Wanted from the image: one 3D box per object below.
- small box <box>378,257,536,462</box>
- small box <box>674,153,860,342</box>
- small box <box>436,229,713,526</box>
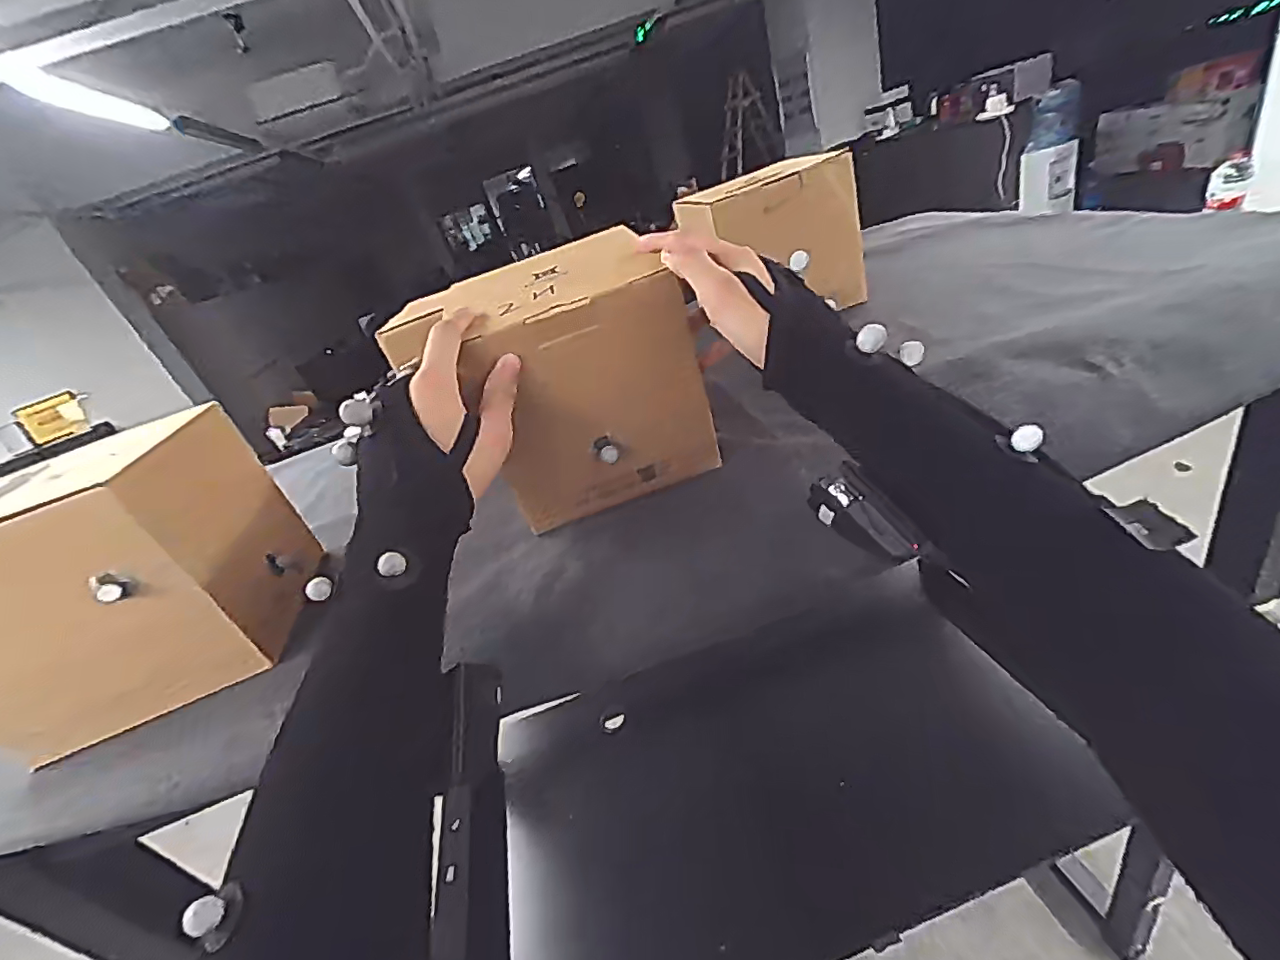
[{"bbox_3d":[-0.174,-0.148,0.655,0.179,0.176,0.168,-20,30,1],"label":"small box"},{"bbox_3d":[0.161,-0.292,0.692,0.168,0.176,0.179,-20,29,-1],"label":"small box"},{"bbox_3d":[-0.051,-0.091,0.461,0.168,0.176,0.179,-20,35,-1],"label":"small box"}]
